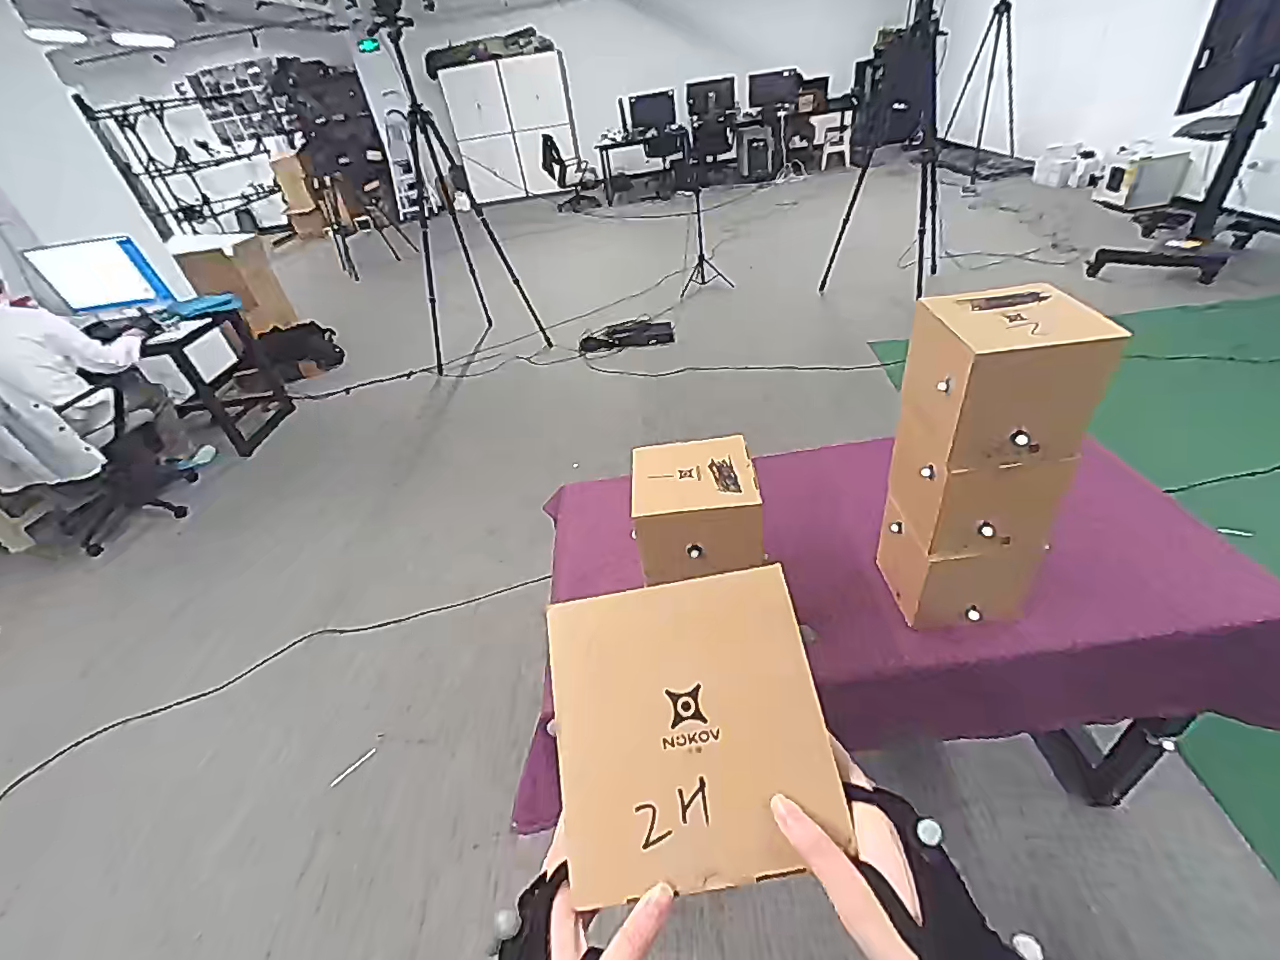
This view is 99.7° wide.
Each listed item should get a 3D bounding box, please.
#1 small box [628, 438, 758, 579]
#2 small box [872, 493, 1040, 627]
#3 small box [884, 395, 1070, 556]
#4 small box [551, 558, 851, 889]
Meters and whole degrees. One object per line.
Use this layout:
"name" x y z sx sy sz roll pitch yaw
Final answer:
"small box" 0.081 0.059 0.830 0.179 0.176 0.168 -8 38 5
"small box" 0.514 0.127 0.911 0.179 0.176 0.168 -6 36 4
"small box" 0.489 -0.008 0.822 0.168 0.176 0.179 -7 38 5
"small box" 0.035 0.177 0.416 0.168 0.176 0.179 -11 66 2
